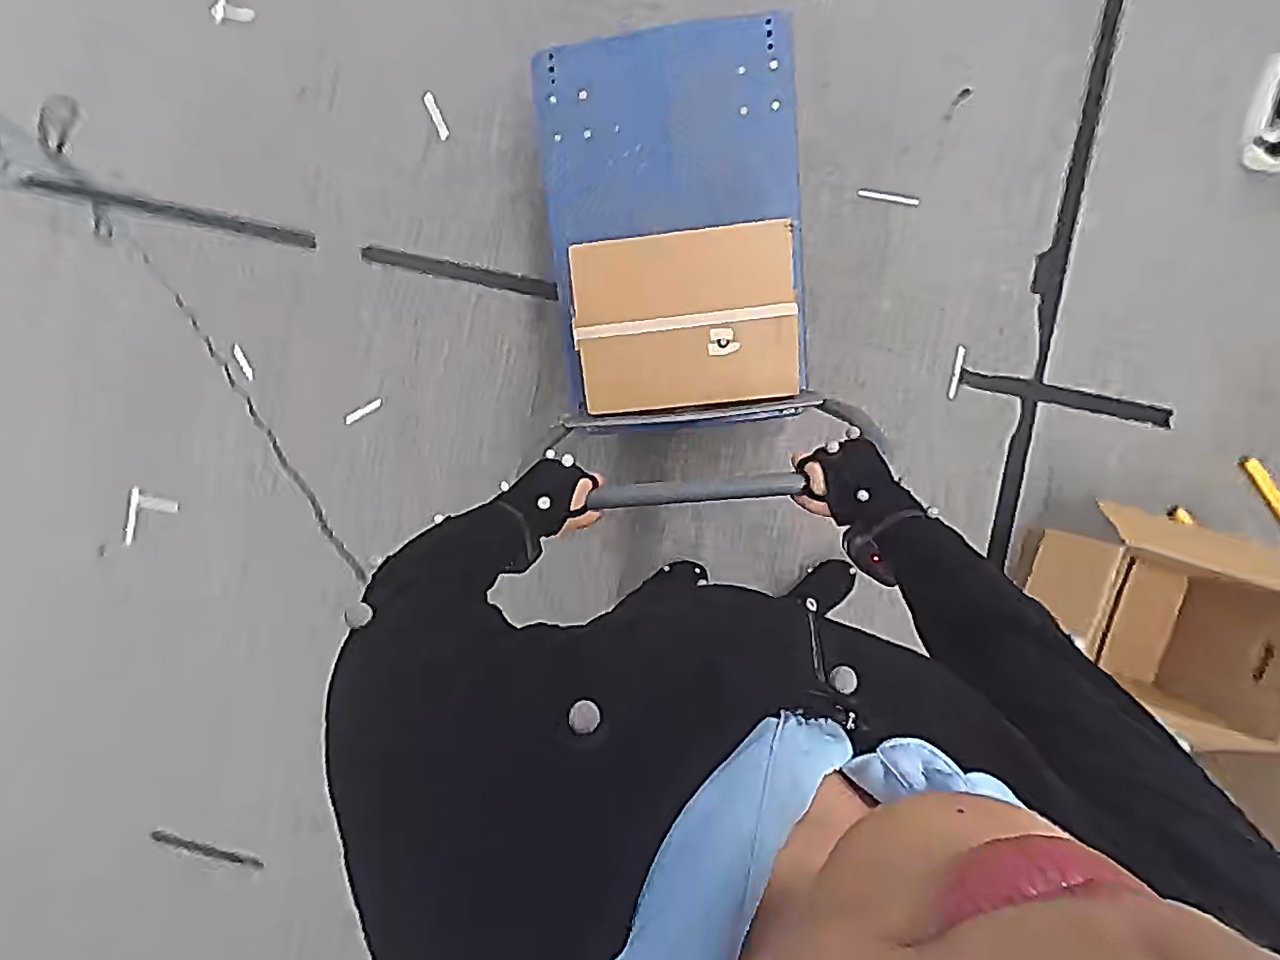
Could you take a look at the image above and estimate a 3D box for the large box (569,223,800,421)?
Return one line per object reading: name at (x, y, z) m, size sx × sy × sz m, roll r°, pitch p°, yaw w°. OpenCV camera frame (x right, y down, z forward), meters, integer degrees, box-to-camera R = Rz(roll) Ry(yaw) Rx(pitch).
large box at (0.092, -0.310, 1.141) m, size 0.408 × 0.320 × 0.320 m, roll -6°, pitch 101°, yaw 5°
